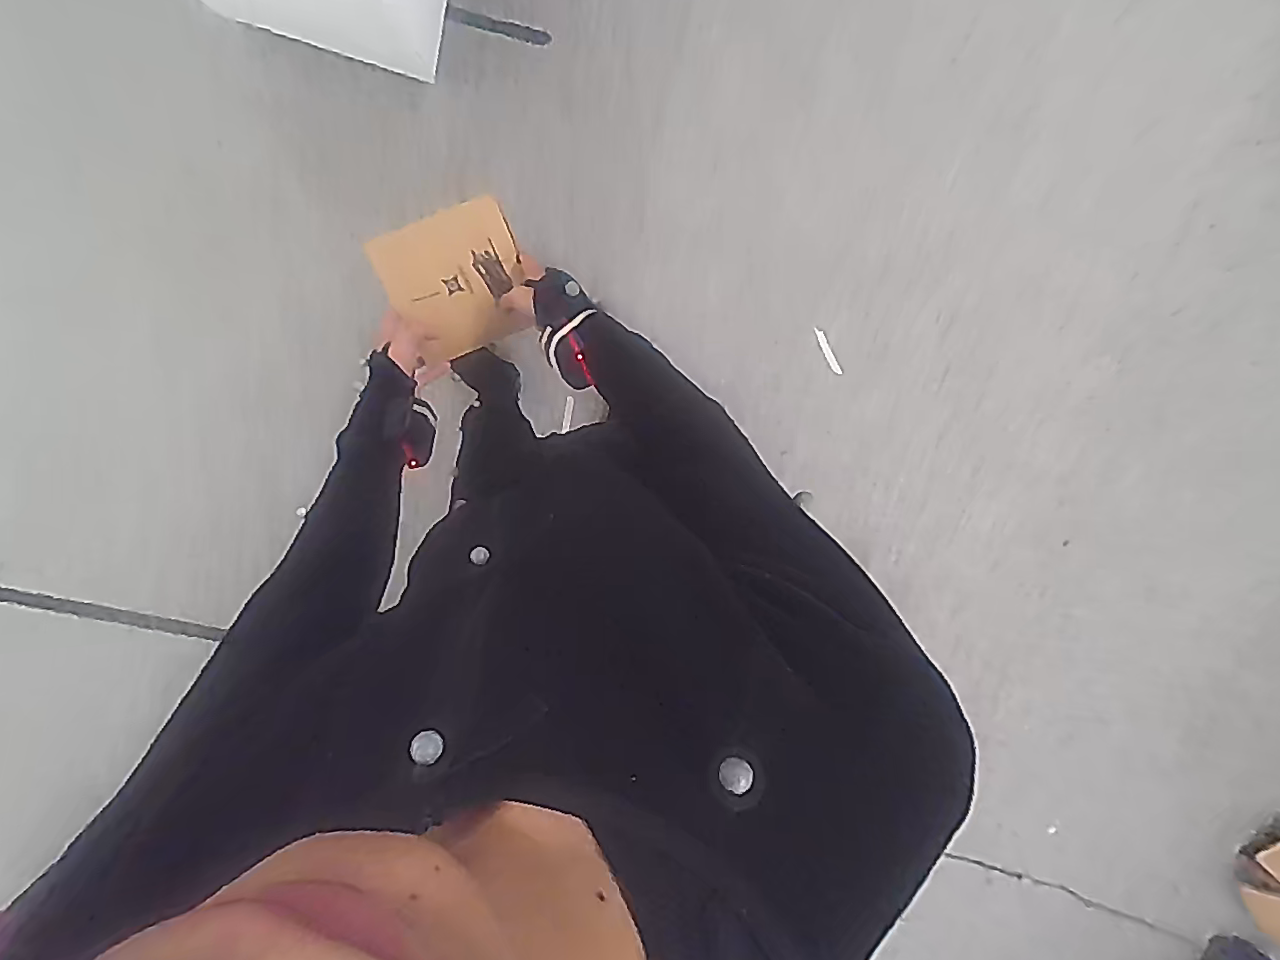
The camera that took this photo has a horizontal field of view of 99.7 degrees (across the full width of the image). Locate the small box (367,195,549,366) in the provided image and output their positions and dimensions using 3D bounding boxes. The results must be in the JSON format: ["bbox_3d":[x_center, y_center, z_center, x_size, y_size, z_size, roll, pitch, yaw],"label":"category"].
[{"bbox_3d":[-0.240,-0.280,0.765,0.179,0.176,0.168,-22,112,1],"label":"small box"}]
